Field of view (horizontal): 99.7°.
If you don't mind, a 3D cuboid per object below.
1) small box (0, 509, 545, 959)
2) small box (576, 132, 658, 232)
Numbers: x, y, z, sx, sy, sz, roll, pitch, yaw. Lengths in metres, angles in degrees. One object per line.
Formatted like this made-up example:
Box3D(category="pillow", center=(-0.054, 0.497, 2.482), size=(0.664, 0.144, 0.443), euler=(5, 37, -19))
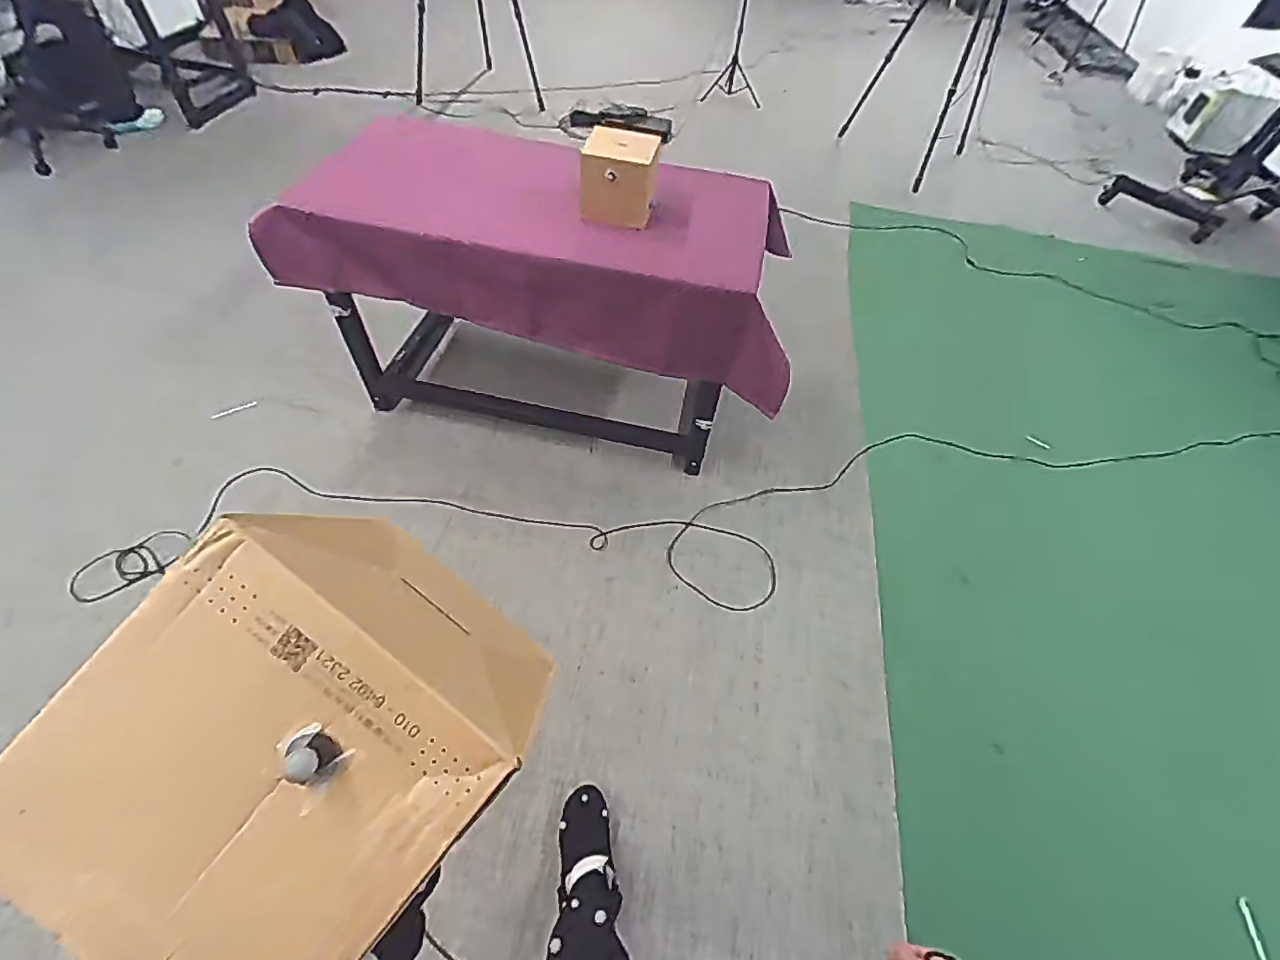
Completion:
Box3D(category="small box", center=(-0.171, 0.130, 0.311), size=(0.168, 0.179, 0.176), euler=(40, 84, 1))
Box3D(category="small box", center=(-0.060, -0.767, 1.397), size=(0.179, 0.176, 0.168), euler=(12, 53, 3))
